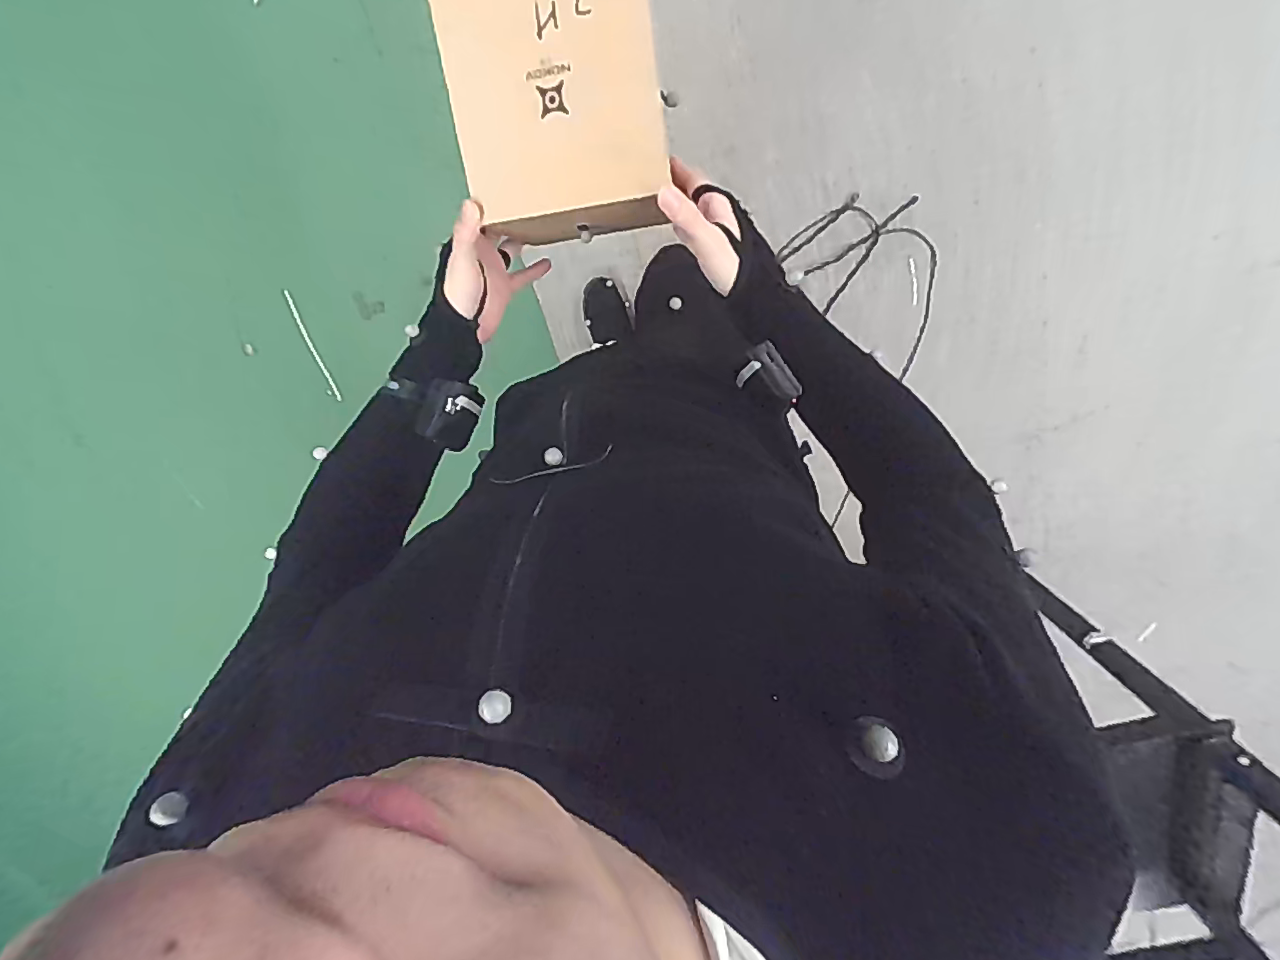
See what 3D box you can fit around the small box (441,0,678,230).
[{"bbox_3d":[-0.056,-0.336,0.495,0.168,0.176,0.179,-5,107,7],"label":"small box"}]
